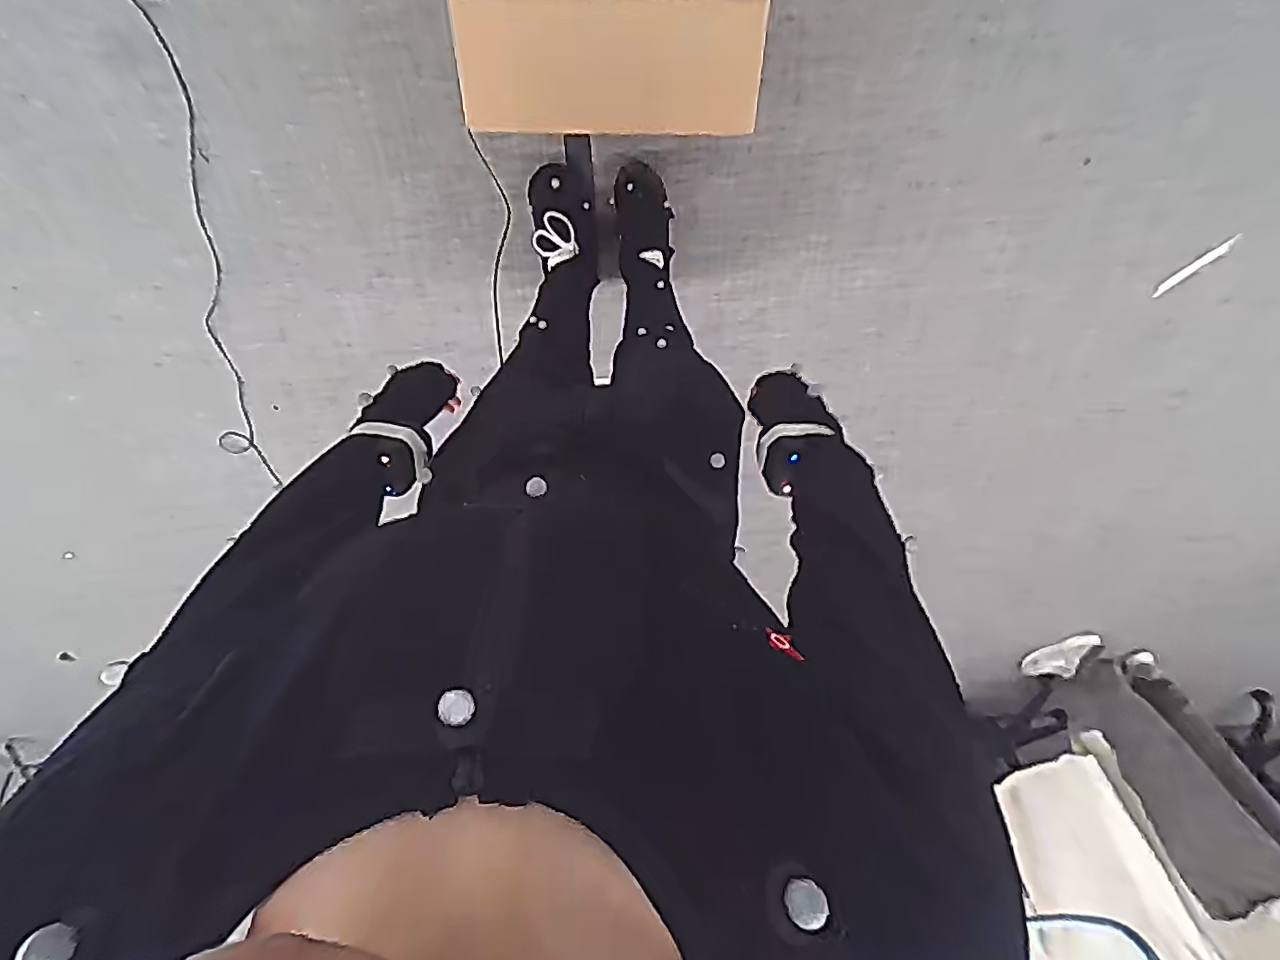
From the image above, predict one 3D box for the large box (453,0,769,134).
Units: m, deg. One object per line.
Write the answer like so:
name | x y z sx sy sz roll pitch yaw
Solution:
large box | -0.039 -0.705 0.782 0.408 0.320 0.320 0 130 -1
